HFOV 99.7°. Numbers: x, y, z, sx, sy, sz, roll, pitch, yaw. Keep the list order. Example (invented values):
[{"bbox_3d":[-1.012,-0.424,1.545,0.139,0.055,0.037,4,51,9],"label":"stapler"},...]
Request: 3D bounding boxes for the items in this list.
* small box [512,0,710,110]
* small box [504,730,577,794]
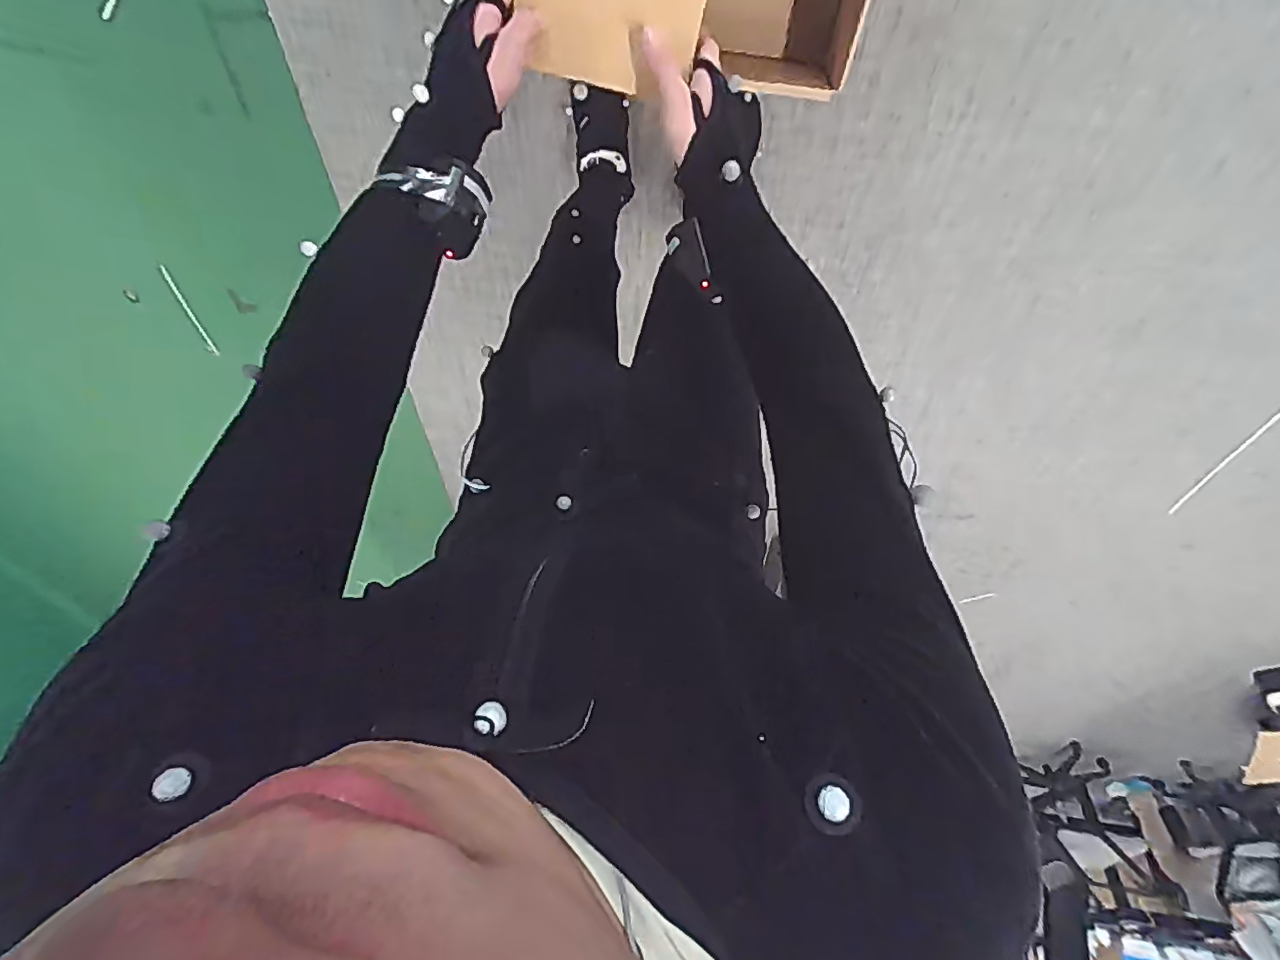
[{"bbox_3d":[-0.018,-0.475,0.514,0.168,0.176,0.179,10,123,-8],"label":"small box"},{"bbox_3d":[-0.353,1.013,1.948,0.168,0.176,0.179,-22,129,30],"label":"small box"}]
